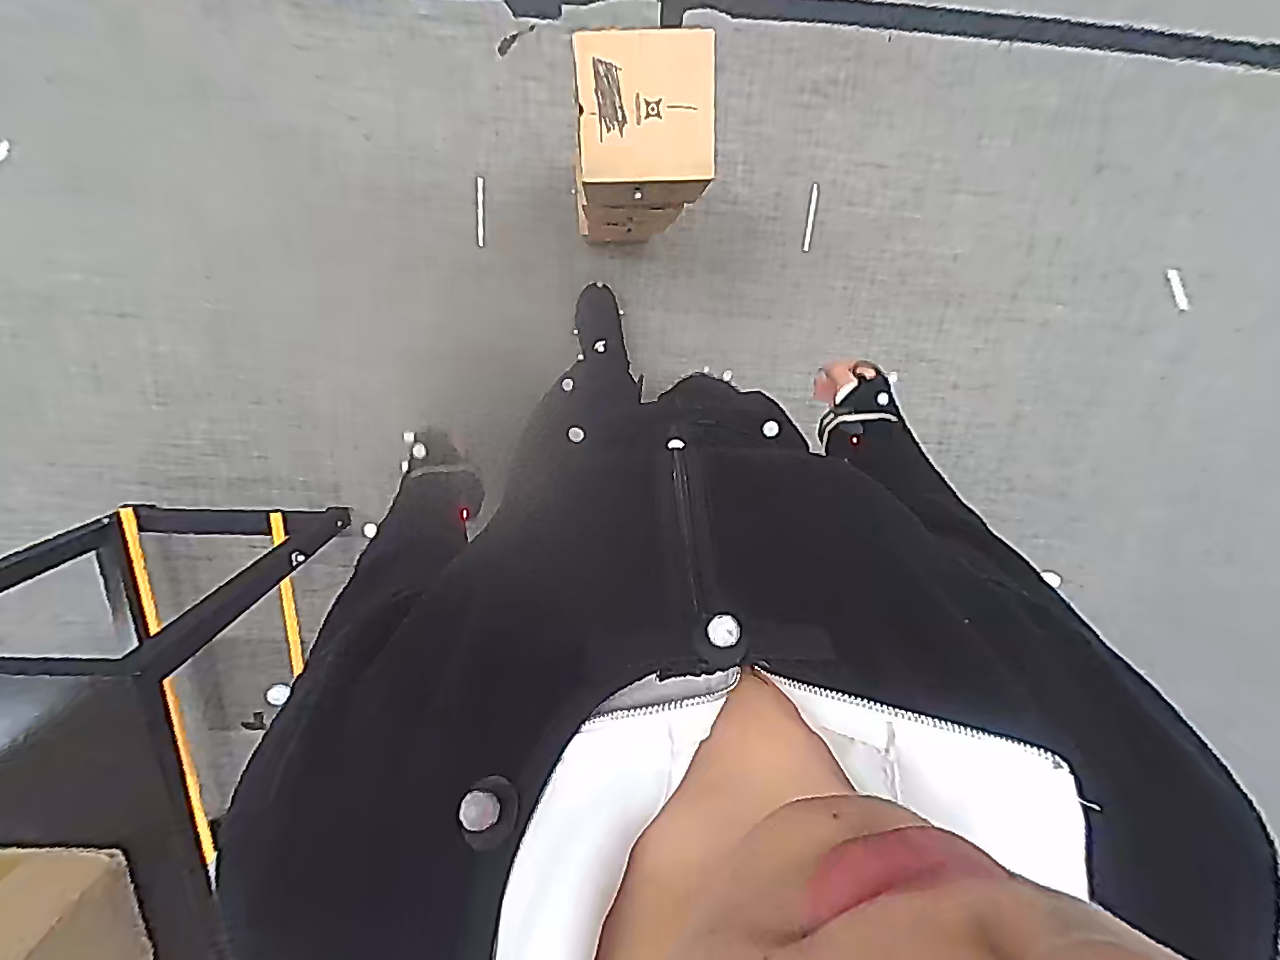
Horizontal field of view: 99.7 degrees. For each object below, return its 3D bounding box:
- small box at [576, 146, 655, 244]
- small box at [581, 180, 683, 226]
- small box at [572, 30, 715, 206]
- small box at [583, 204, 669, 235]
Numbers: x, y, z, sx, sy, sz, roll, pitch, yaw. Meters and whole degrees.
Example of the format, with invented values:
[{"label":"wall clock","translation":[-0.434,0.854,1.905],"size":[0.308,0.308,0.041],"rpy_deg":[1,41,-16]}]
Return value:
[{"label":"small box","translation":[-0.054,-0.637,1.220],"size":[0.168,0.176,0.179],"rpy_deg":[-3,109,-1]},{"label":"small box","translation":[-0.013,-0.538,0.908],"size":[0.168,0.176,0.179],"rpy_deg":[1,108,-2]},{"label":"small box","translation":[0.004,-0.487,0.752],"size":[0.179,0.176,0.168],"rpy_deg":[-3,108,-2]},{"label":"small box","translation":[-0.029,-0.585,1.066],"size":[0.168,0.176,0.179],"rpy_deg":[-4,109,-1]}]
